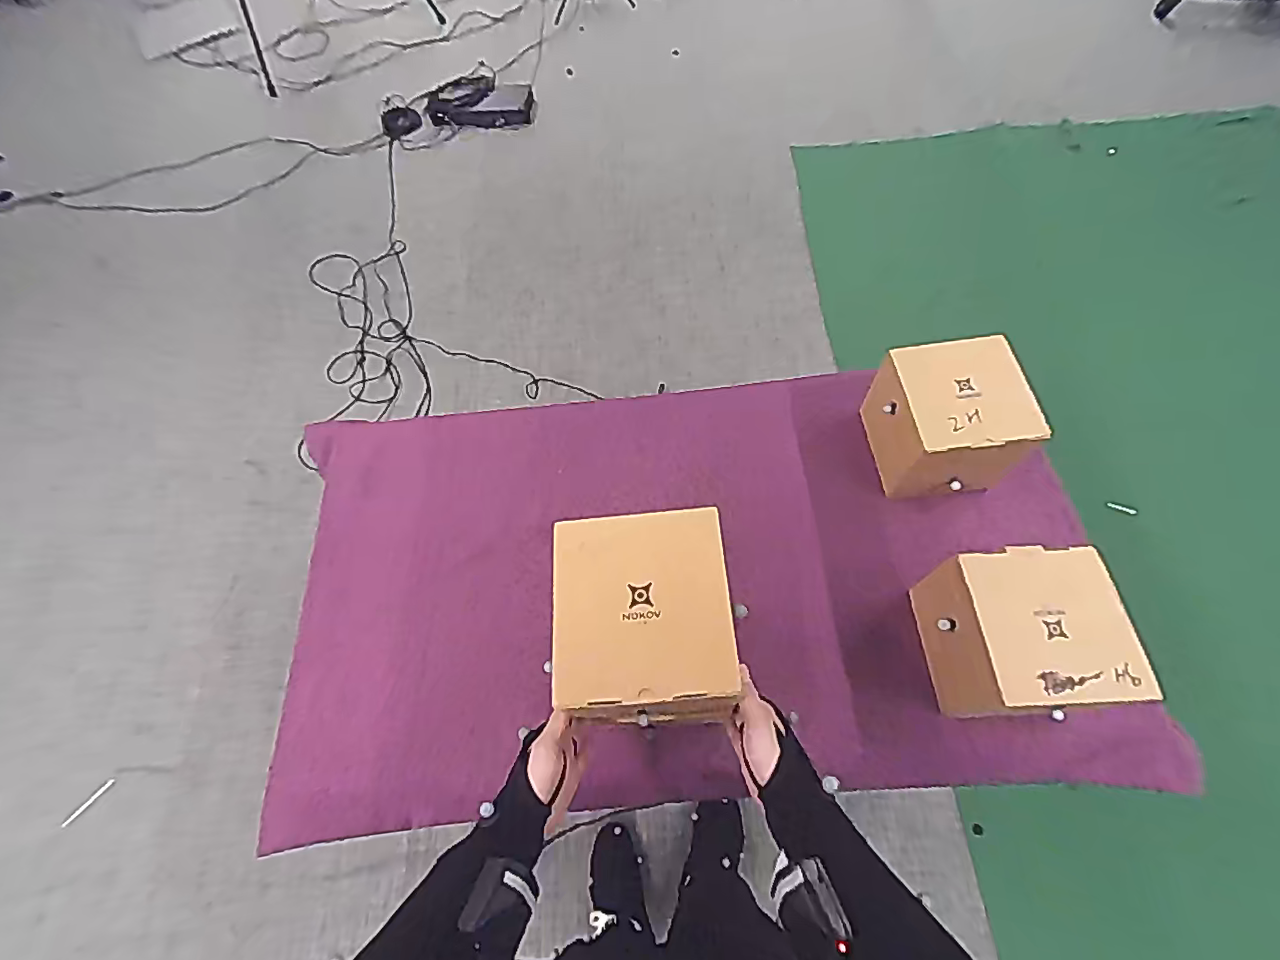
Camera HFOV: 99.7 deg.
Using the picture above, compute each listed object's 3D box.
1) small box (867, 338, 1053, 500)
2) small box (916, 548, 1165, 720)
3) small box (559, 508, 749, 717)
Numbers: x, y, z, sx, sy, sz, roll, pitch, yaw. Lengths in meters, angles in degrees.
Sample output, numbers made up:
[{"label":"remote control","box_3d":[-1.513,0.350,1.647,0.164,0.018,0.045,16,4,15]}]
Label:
[{"label":"small box","box_3d":[0.465,-0.087,0.824,0.168,0.176,0.179,-7,64,4]},{"label":"small box","box_3d":[0.478,0.200,0.685,0.168,0.176,0.179,-4,61,4]},{"label":"small box","box_3d":[0.013,0.146,0.568,0.168,0.176,0.179,-5,64,2]}]
